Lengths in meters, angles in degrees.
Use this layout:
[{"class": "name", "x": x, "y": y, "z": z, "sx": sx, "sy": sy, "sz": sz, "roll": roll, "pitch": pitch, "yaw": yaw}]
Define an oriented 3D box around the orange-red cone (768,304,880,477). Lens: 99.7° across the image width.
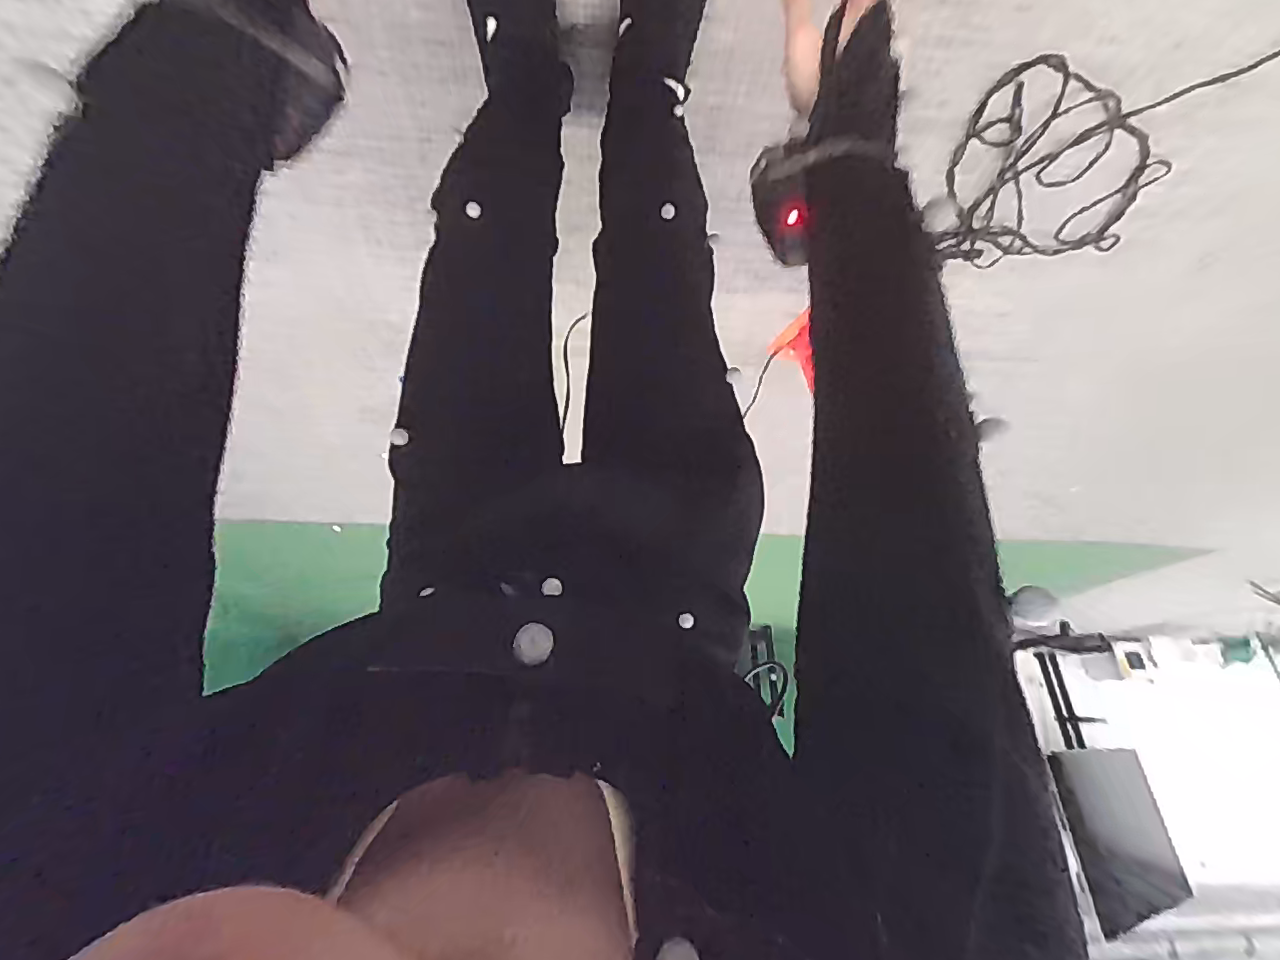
[{"class": "orange-red cone", "x": 0.430, "y": -0.174, "z": 1.196, "sx": 0.199, "sy": 0.360, "sz": 0.198, "roll": 10, "pitch": 153, "yaw": -23}]
